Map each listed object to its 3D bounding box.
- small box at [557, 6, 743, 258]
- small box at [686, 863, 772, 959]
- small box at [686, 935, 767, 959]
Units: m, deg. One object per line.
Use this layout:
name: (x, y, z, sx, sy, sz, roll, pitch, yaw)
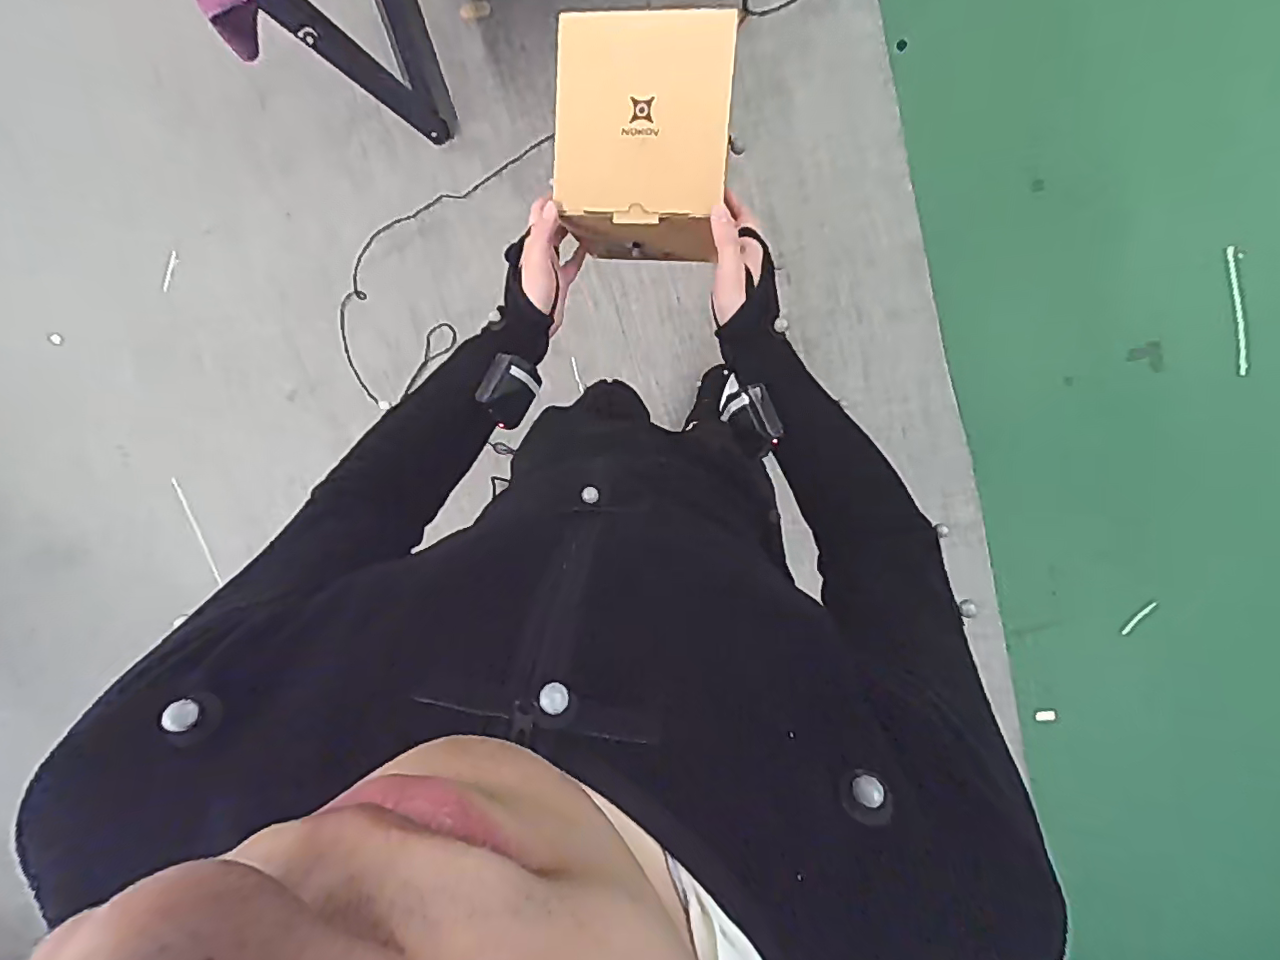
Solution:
small box: (0.014, -0.350, 0.576, 0.168, 0.176, 0.179, 4, 101, 6)
small box: (0.220, 1.084, 1.315, 0.168, 0.176, 0.179, -18, 100, 11)
small box: (0.198, 1.119, 1.156, 0.168, 0.176, 0.179, -20, 100, 12)
